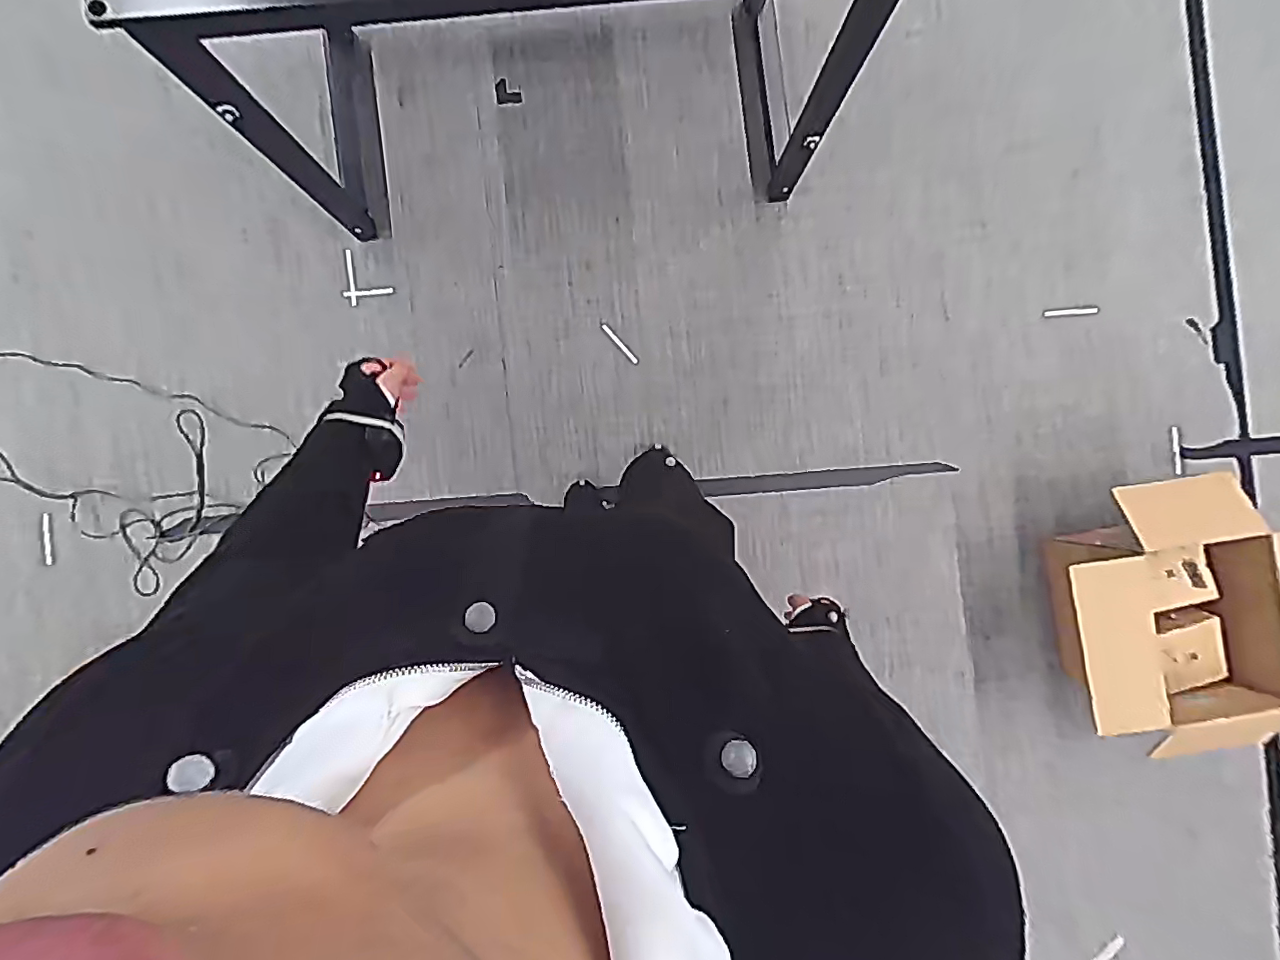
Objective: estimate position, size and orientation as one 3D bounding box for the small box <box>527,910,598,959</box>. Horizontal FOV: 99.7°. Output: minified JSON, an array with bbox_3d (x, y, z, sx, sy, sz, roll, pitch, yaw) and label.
[{"bbox_3d":[-0.191,1.219,1.354,0.168,0.176,0.179,-1,88,-2],"label":"small box"}]
